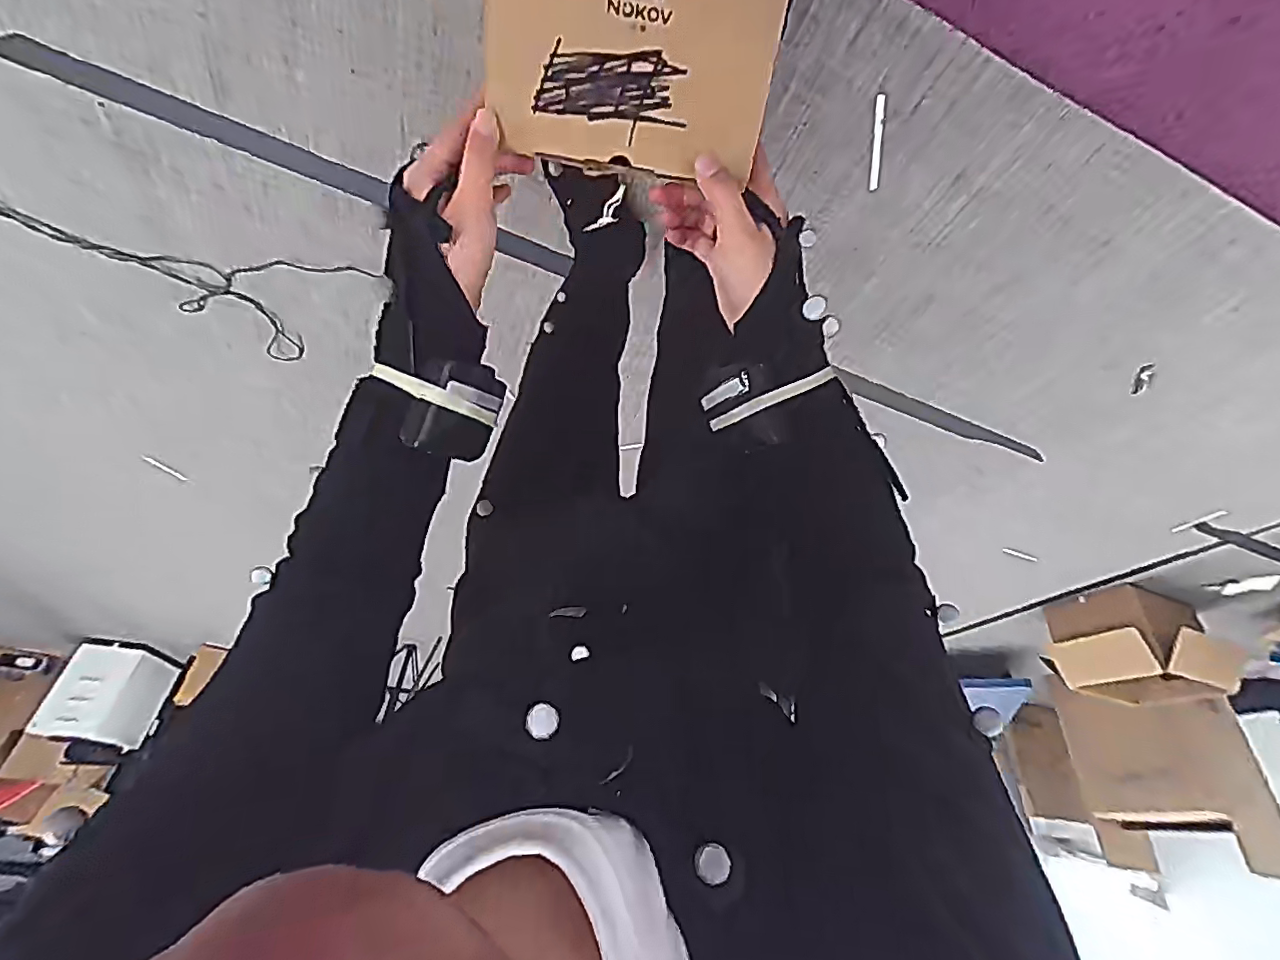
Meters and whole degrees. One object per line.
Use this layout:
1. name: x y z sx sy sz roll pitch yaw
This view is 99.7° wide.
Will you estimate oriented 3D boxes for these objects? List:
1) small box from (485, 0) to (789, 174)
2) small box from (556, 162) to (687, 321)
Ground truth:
1. small box: -0.002 -0.314 0.355 0.168 0.176 0.179 5 120 -8
2. small box: -0.025 -0.382 0.880 0.179 0.176 0.168 -8 139 12
